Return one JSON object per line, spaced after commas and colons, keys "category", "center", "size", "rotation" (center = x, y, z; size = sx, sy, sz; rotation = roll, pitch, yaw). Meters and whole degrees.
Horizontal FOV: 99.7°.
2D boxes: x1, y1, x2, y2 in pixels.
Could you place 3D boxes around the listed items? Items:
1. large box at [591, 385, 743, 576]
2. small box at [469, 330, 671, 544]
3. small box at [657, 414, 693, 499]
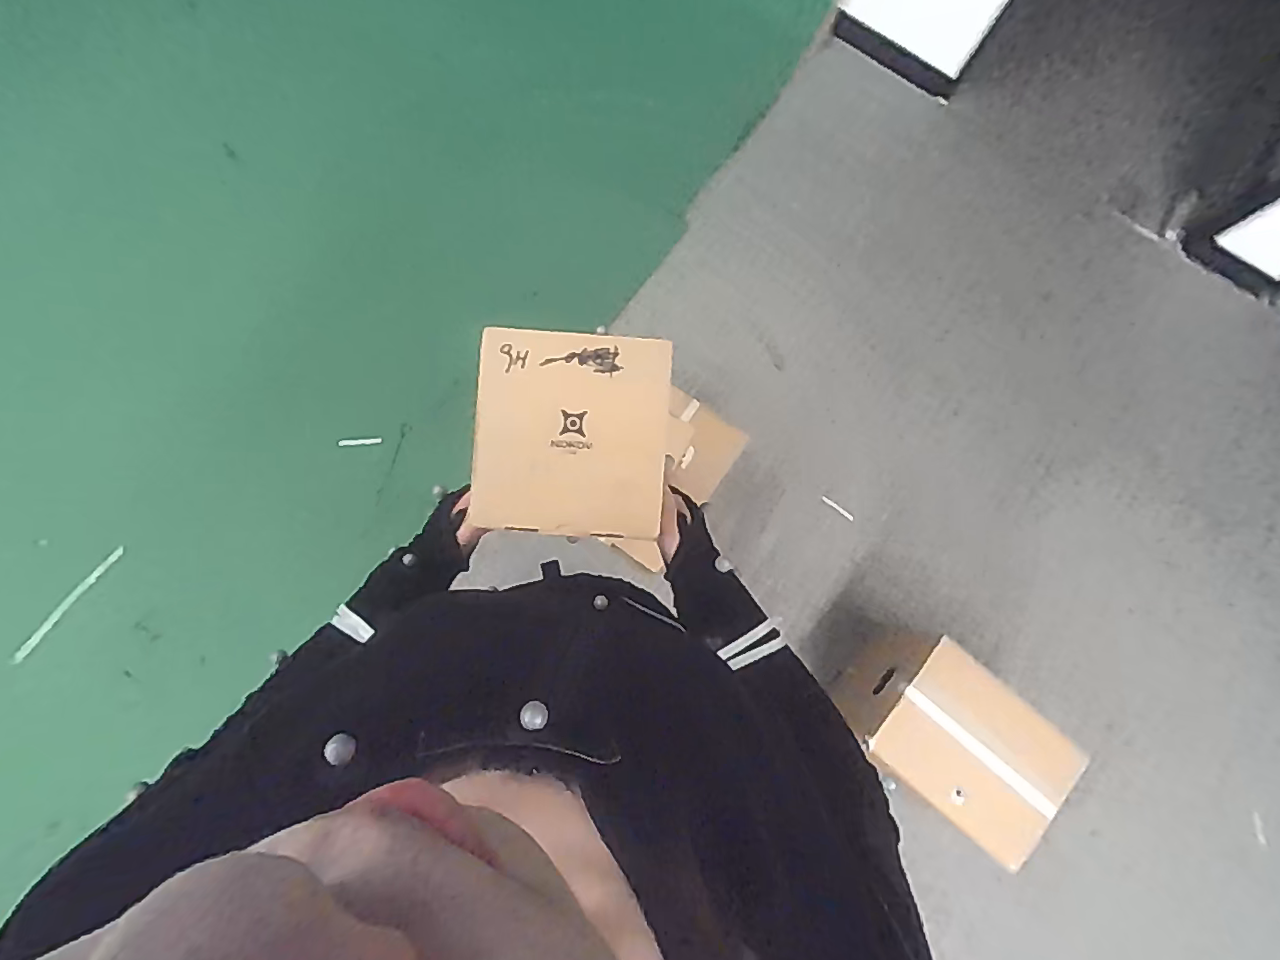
{"category": "large box", "center": [0.009, 0.000, 1.426], "size": [0.320, 0.320, 0.408], "rotation": [36, 78, 4]}
{"category": "small box", "center": [-0.062, -0.038, 0.547], "size": [0.168, 0.176, 0.179], "rotation": [4, 90, -2]}
{"category": "small box", "center": [-0.020, -0.038, 1.016], "size": [0.168, 0.176, 0.179], "rotation": [31, 78, 3]}
